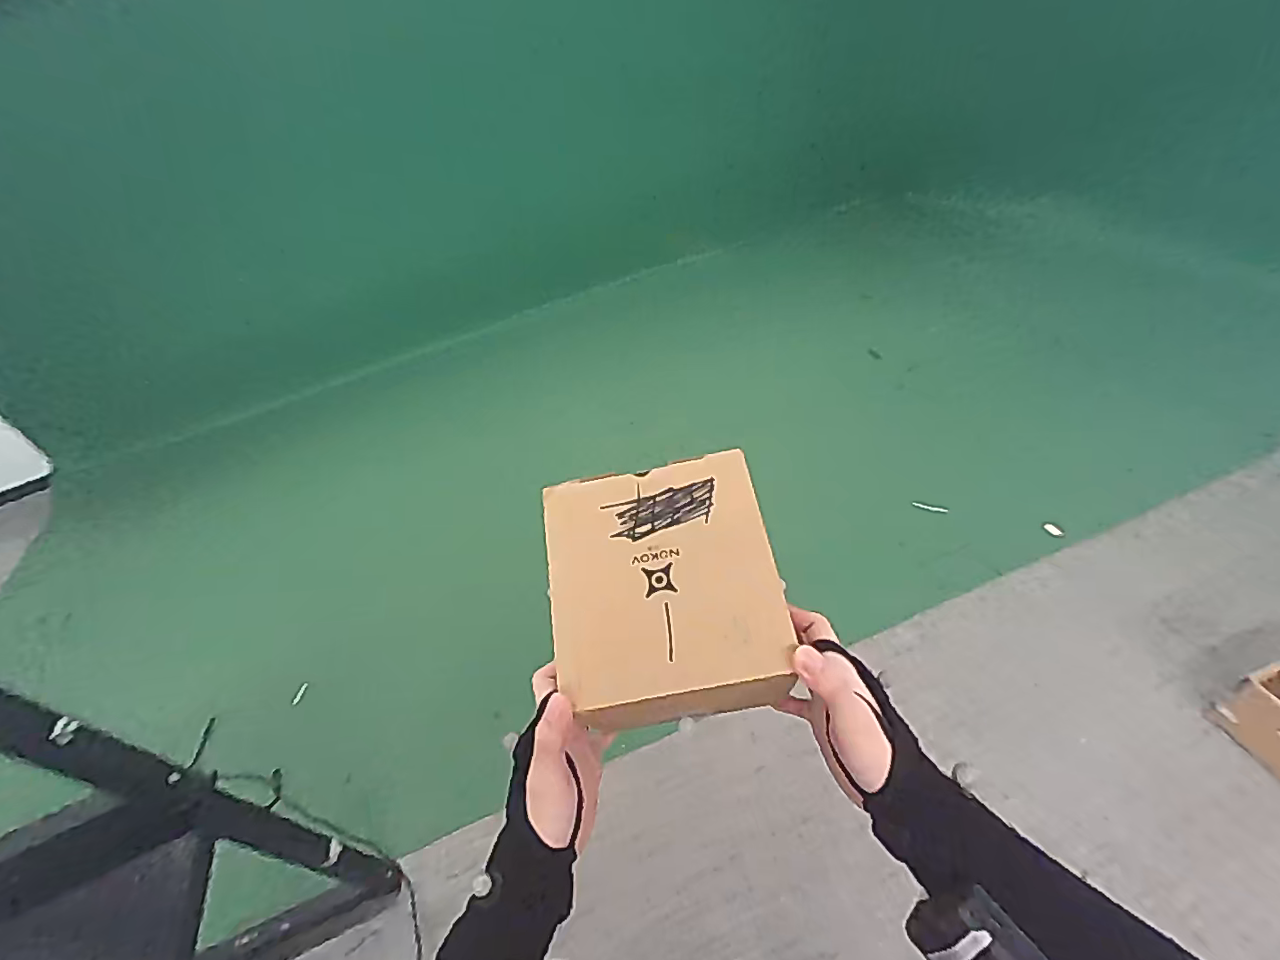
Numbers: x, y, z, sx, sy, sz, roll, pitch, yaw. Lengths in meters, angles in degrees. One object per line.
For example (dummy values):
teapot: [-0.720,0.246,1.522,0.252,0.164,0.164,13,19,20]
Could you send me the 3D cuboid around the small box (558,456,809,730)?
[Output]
small box: [0.032,0.106,0.468,0.168,0.176,0.179,-11,61,4]
